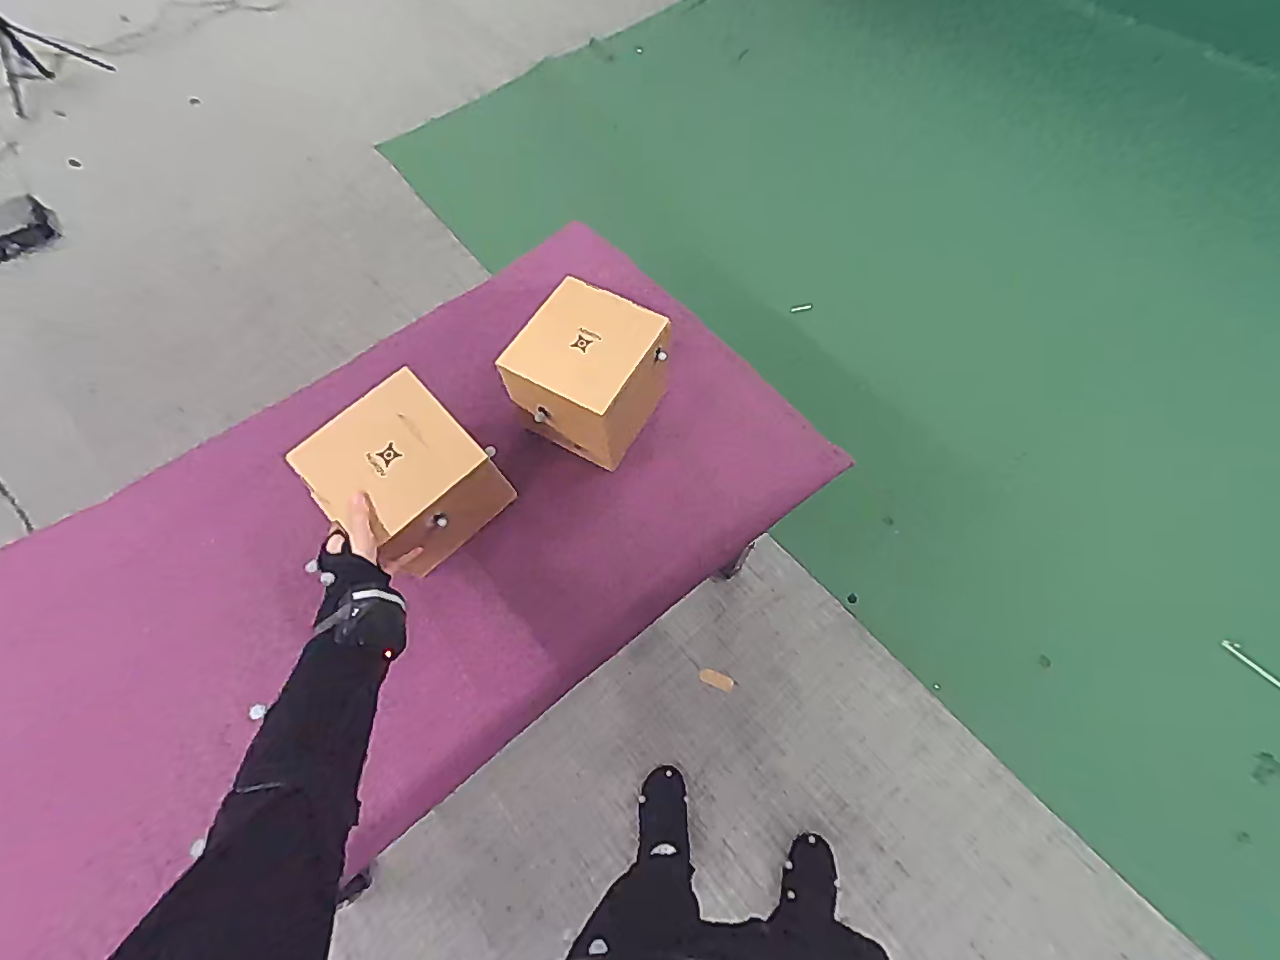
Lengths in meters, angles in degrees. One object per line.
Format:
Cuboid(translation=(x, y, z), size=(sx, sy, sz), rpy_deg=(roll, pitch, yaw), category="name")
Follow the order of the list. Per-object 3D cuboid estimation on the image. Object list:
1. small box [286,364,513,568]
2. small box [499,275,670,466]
Cuboid(translation=(-0.292, -0.006, 0.697), size=(0.179, 0.176, 0.168), rpy_deg=(-42, 78, -11), category="small box")
Cuboid(translation=(-0.067, -0.149, 0.775), size=(0.168, 0.176, 0.179), rpy_deg=(27, 68, 13), category="small box")
